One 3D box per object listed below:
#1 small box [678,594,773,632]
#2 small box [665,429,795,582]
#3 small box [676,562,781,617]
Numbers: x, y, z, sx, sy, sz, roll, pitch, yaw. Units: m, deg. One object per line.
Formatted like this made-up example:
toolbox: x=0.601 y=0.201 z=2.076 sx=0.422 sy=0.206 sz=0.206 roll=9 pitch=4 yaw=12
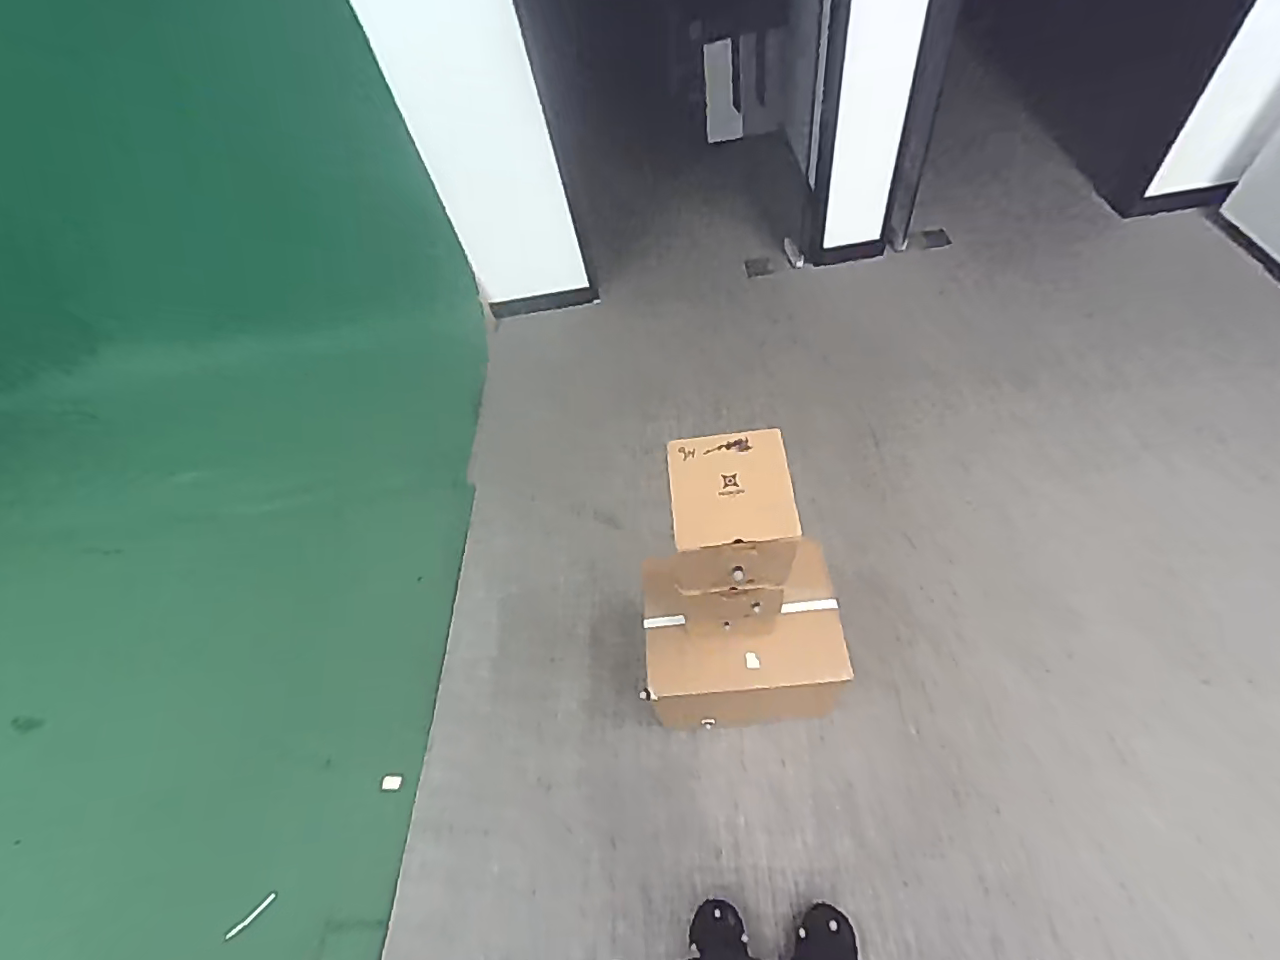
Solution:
small box: x=0.173 y=0.204 z=1.098 sx=0.179 sy=0.176 sz=0.168 roll=-1 pitch=58 yaw=10
small box: x=0.132 y=0.048 z=0.818 sx=0.168 sy=0.176 sz=0.179 roll=-6 pitch=60 yaw=5
small box: x=0.149 y=0.136 z=0.955 sx=0.168 sy=0.176 sz=0.179 roll=-6 pitch=58 yaw=5
